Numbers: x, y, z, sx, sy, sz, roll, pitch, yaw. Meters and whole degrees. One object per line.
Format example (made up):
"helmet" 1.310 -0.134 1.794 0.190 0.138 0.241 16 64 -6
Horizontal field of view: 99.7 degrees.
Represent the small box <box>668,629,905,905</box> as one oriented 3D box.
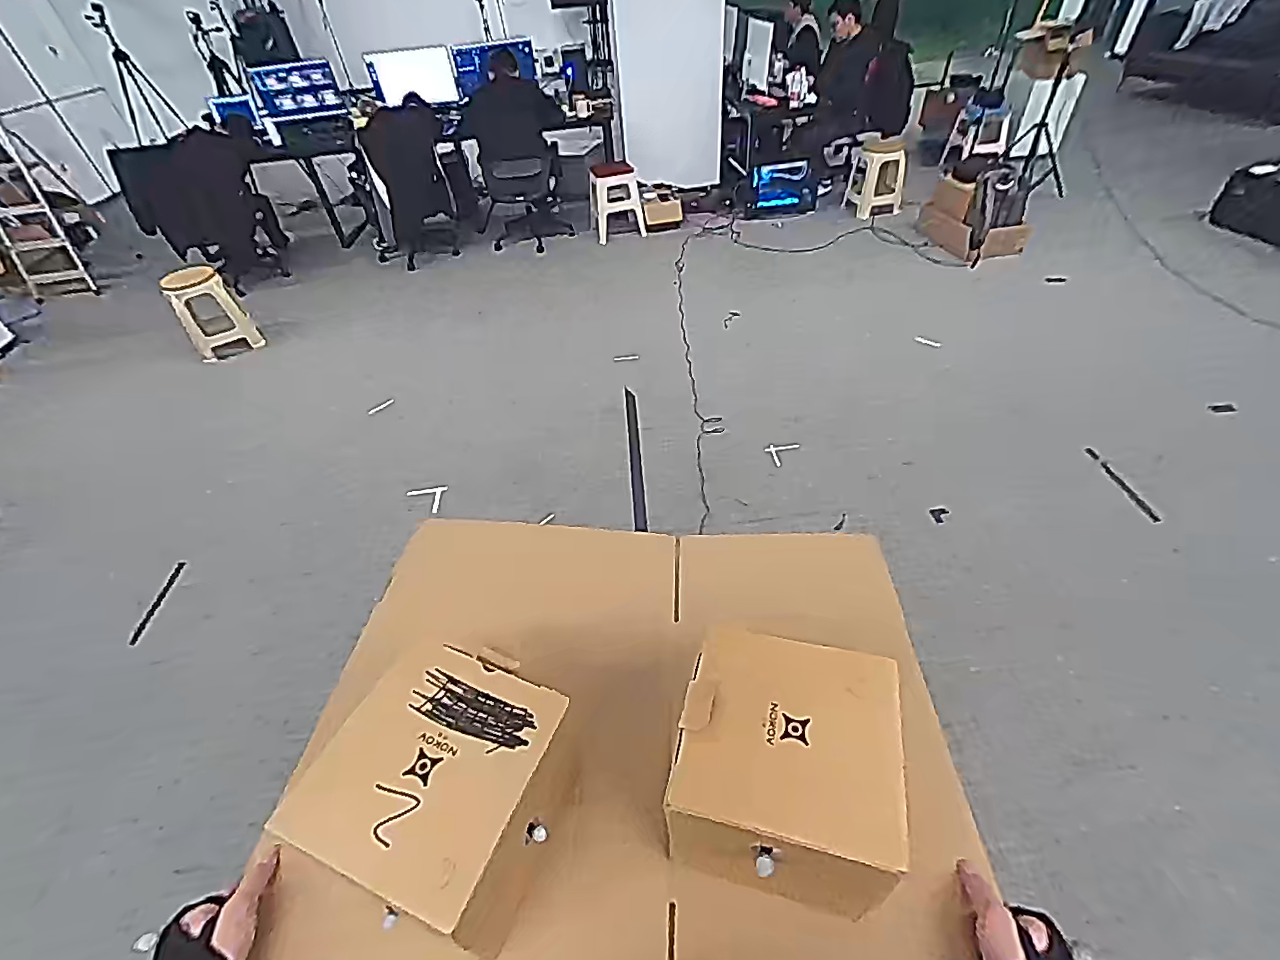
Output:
"small box" 0.135 0.271 0.512 0.179 0.176 0.168 6 44 16
